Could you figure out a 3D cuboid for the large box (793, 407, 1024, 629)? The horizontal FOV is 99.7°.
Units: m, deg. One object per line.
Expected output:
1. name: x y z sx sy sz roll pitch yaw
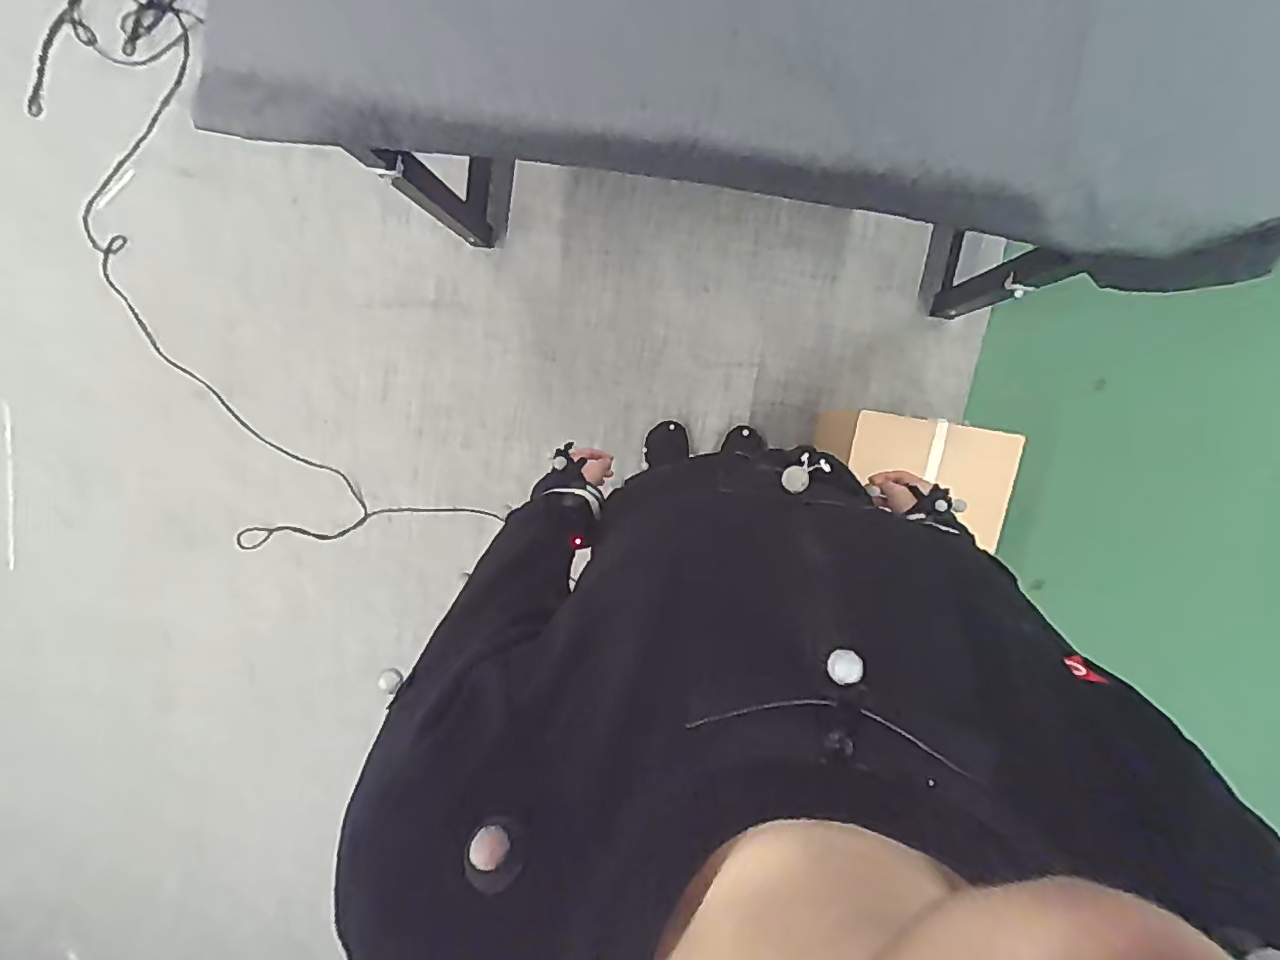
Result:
1. large box: 0.552 0.057 1.189 0.320 0.320 0.408 9 99 4
